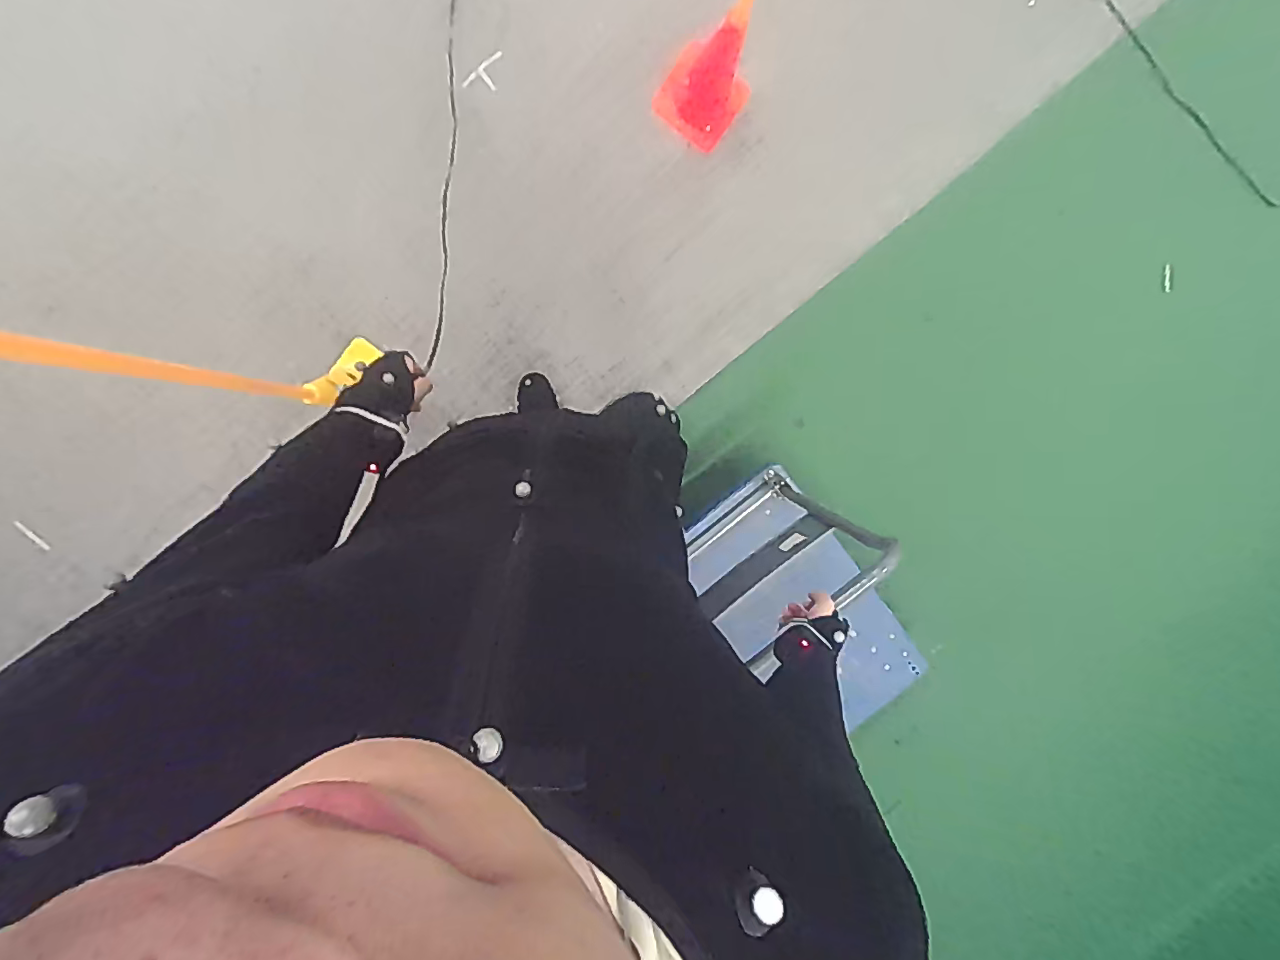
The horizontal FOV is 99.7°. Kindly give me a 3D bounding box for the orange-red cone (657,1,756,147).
[{"bbox_3d":[0.191,-0.978,1.252,0.198,0.360,0.199,35,95,-14],"label":"orange-red cone"}]
